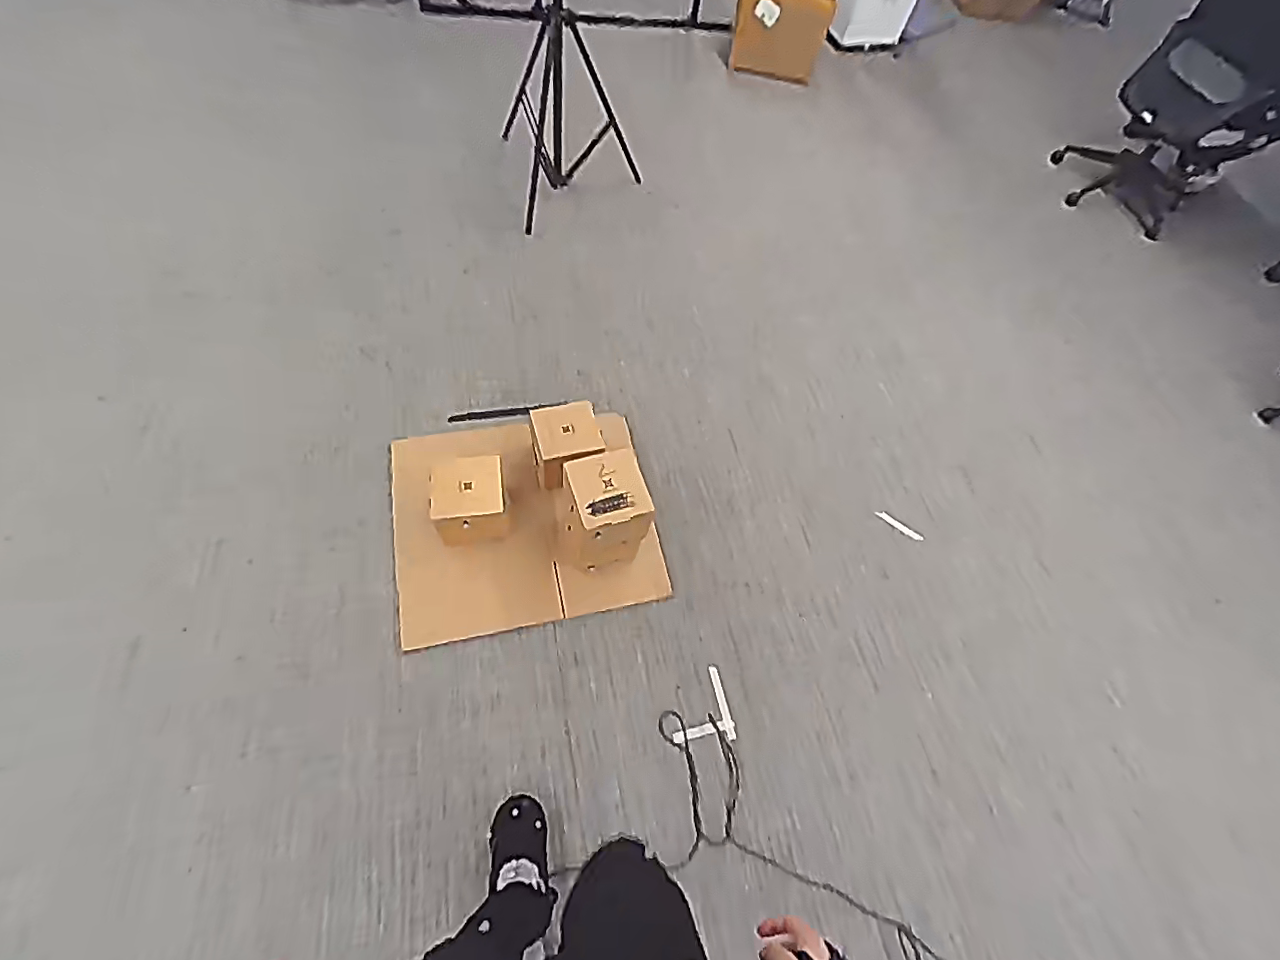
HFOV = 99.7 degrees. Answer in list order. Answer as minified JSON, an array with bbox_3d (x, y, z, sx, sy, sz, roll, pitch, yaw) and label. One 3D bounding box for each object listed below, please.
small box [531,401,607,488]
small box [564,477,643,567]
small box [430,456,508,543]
[{"bbox_3d":[-0.205,-0.097,1.533,0.179,0.176,0.168,-14,64,-14],"label":"small box"},{"bbox_3d":[-0.102,0.119,1.431,0.168,0.176,0.179,-13,65,-15],"label":"small box"},{"bbox_3d":[-0.441,0.054,1.413,0.179,0.176,0.168,-6,63,-10],"label":"small box"}]
